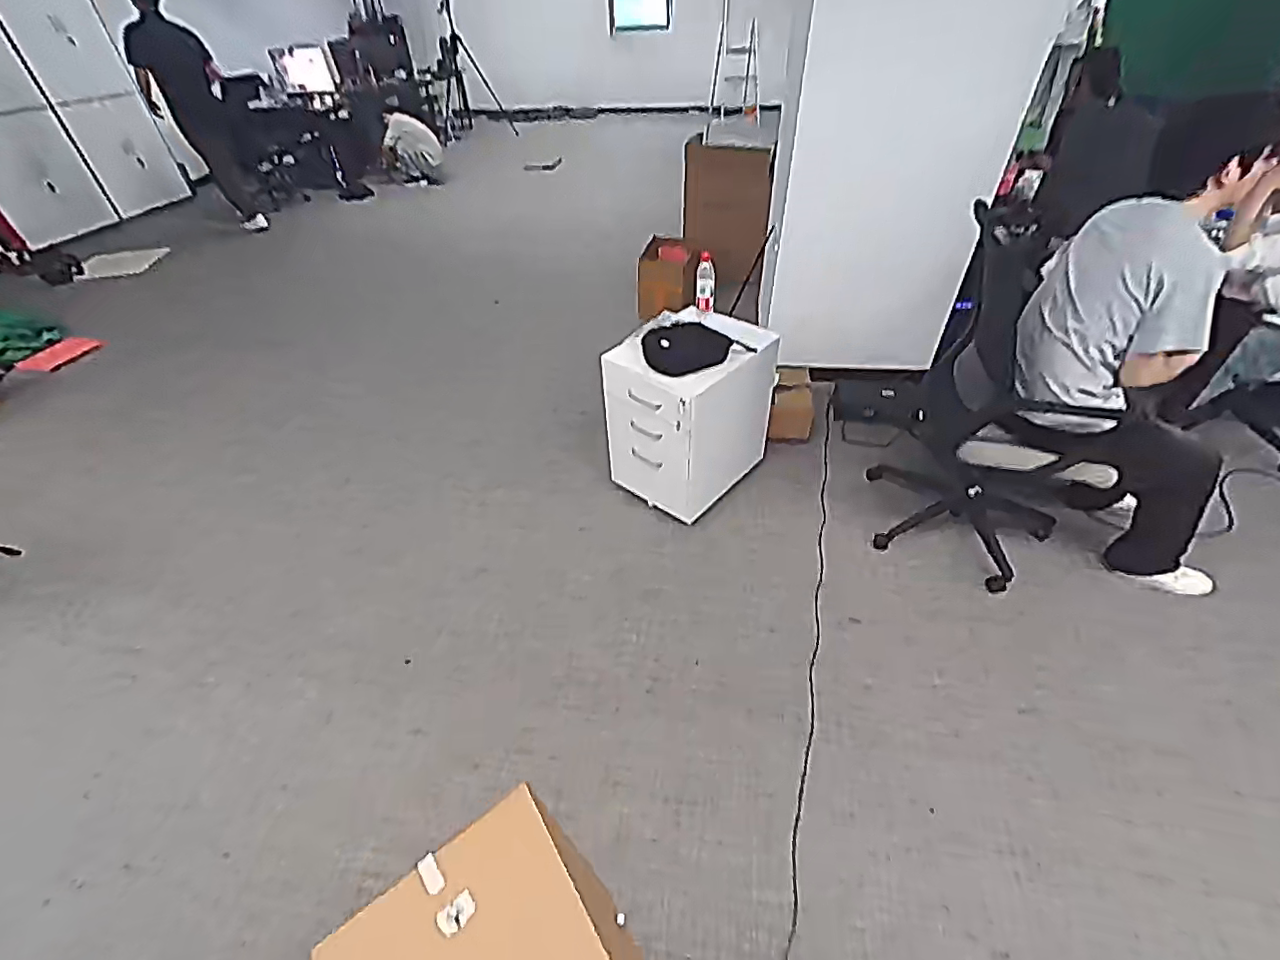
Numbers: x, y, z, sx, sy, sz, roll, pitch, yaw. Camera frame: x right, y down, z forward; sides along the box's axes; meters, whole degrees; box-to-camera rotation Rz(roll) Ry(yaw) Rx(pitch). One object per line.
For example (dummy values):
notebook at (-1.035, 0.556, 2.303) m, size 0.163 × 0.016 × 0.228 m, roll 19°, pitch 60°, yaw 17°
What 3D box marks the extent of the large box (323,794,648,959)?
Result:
large box at (-0.155, 0.728, 0.733) m, size 0.320 × 0.408 × 0.320 m, roll -31°, pitch 37°, yaw -17°
